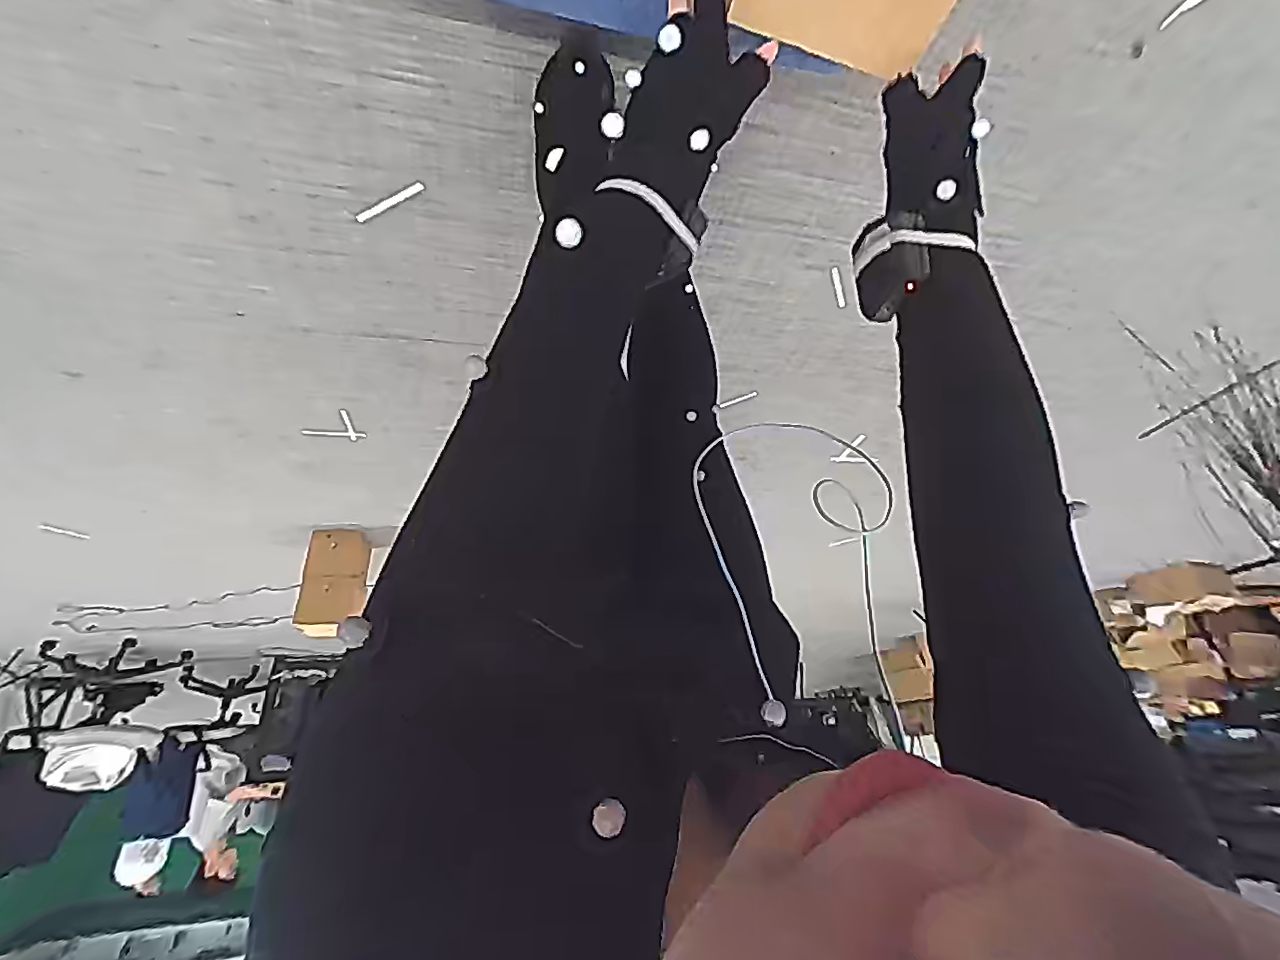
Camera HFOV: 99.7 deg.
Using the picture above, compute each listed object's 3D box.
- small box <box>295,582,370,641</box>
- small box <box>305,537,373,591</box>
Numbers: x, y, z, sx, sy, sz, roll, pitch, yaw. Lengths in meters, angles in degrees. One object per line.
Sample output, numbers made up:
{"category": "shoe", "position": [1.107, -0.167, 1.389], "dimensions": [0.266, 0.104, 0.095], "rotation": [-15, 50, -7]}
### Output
{"category": "small box", "position": [-1.079, 0.464, 1.911], "dimensions": [0.179, 0.176, 0.168], "rotation": [2, 151, -12]}
{"category": "small box", "position": [-1.097, 0.319, 1.987], "dimensions": [0.168, 0.176, 0.179], "rotation": [2, 150, -13]}
